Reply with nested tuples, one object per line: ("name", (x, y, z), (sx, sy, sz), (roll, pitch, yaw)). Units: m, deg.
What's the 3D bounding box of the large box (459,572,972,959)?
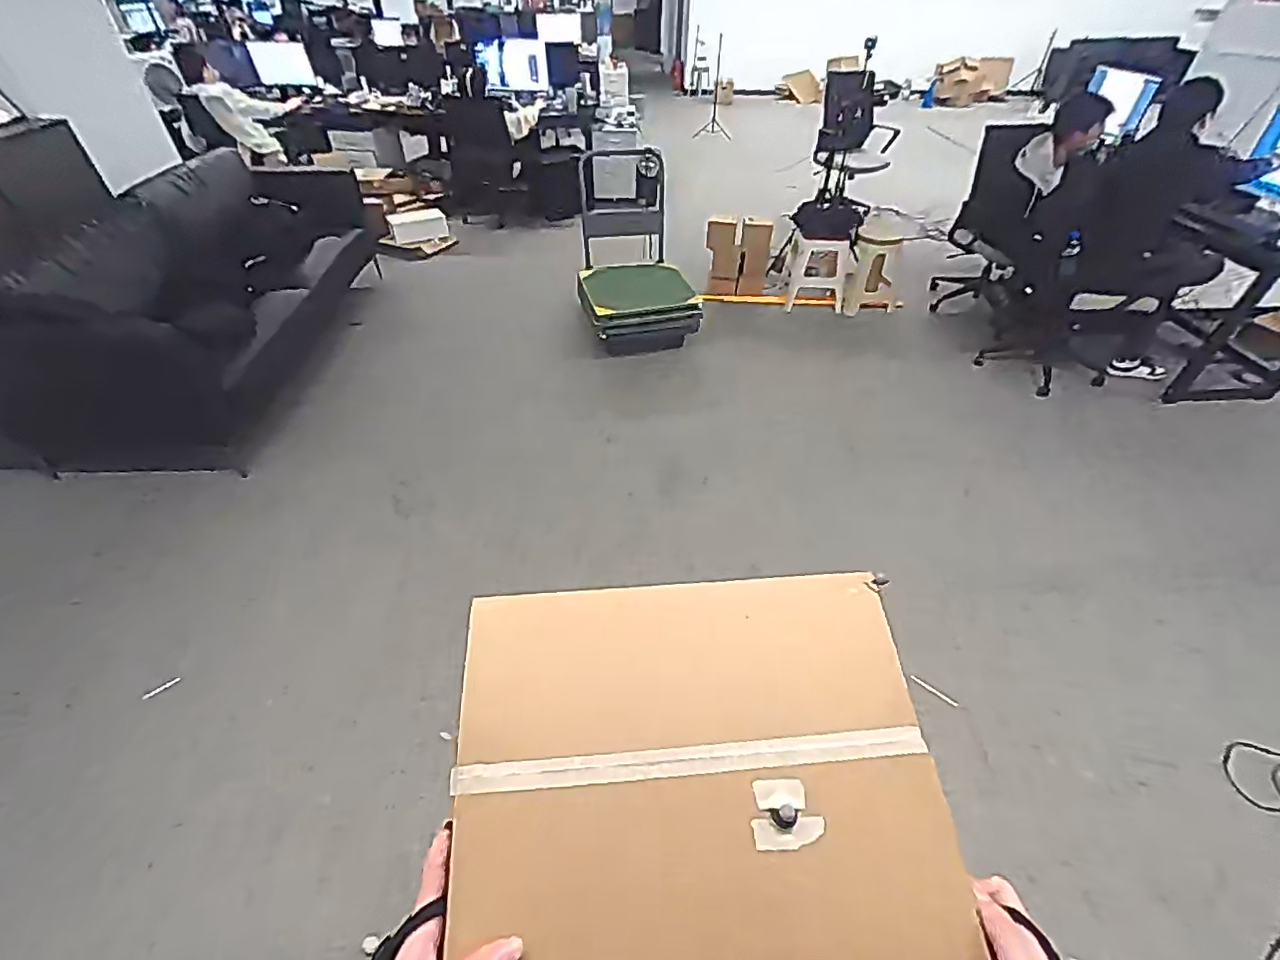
("large box", (0.043, 0.318, 0.606), (0.408, 0.320, 0.320), (-3, 60, -4))
